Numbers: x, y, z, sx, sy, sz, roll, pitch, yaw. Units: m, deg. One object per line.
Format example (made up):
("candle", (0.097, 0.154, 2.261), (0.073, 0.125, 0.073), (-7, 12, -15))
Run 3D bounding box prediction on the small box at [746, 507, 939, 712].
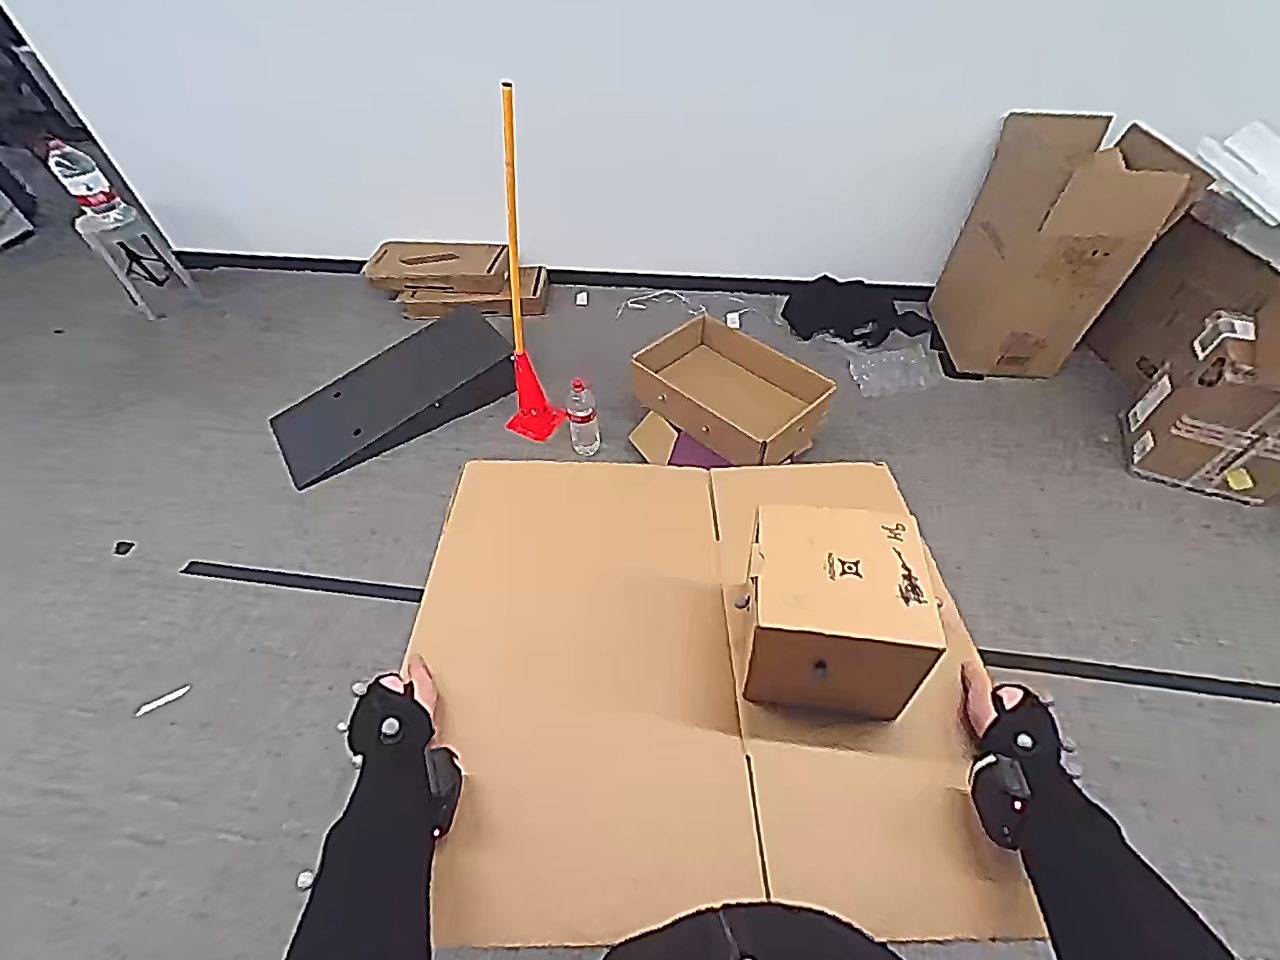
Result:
("small box", (0.217, 0.151, 0.631), (0.179, 0.176, 0.168), (4, 46, 10))
